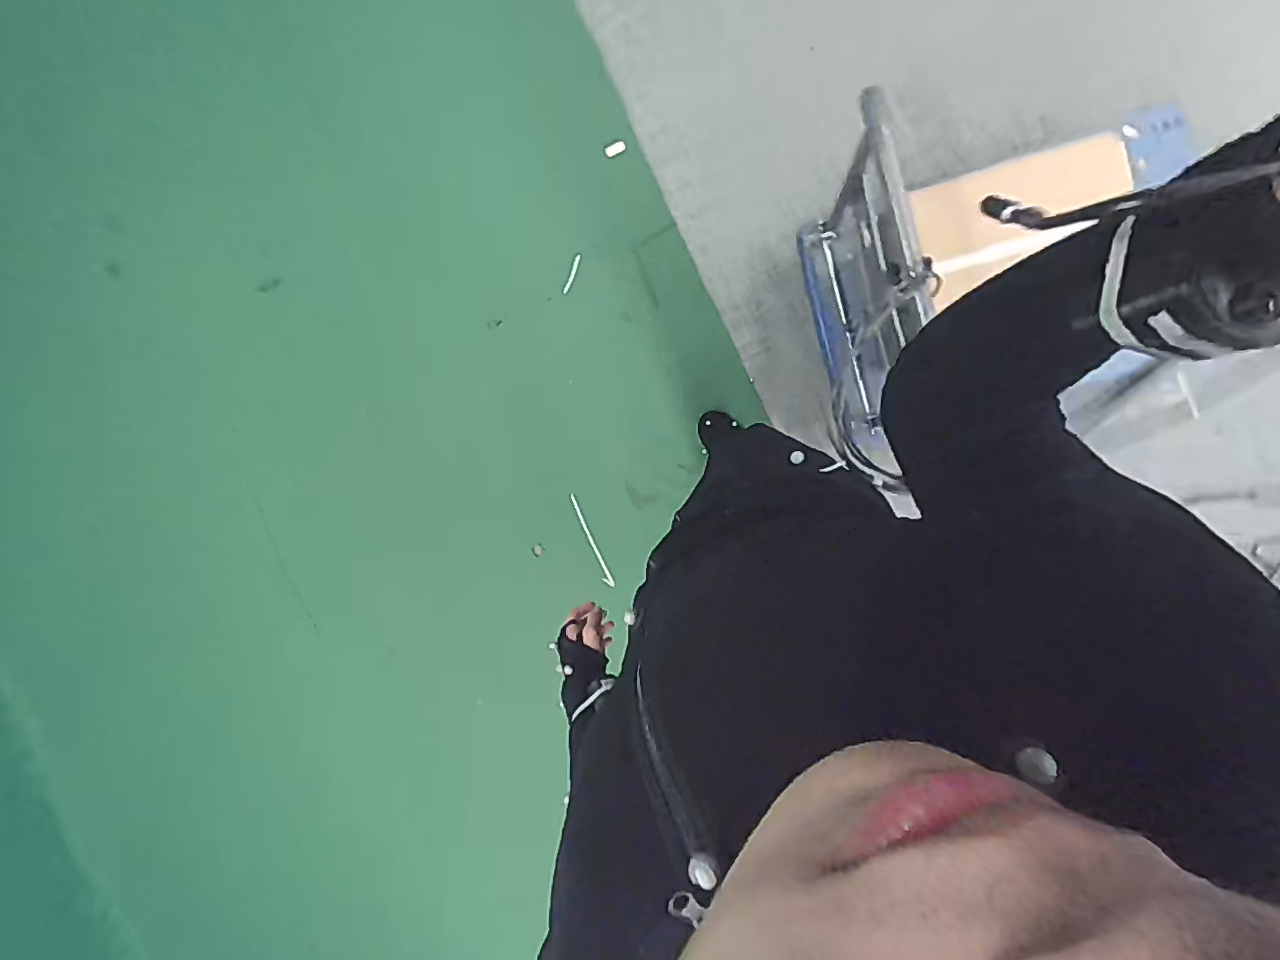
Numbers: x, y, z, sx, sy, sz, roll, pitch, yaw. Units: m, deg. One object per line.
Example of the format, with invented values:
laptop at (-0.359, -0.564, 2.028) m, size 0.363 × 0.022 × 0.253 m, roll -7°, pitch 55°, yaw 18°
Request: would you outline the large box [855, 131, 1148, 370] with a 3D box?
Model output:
large box at (0.739, -0.458, 1.176) m, size 0.408 × 0.320 × 0.320 m, roll -14°, pitch 93°, yaw 9°
